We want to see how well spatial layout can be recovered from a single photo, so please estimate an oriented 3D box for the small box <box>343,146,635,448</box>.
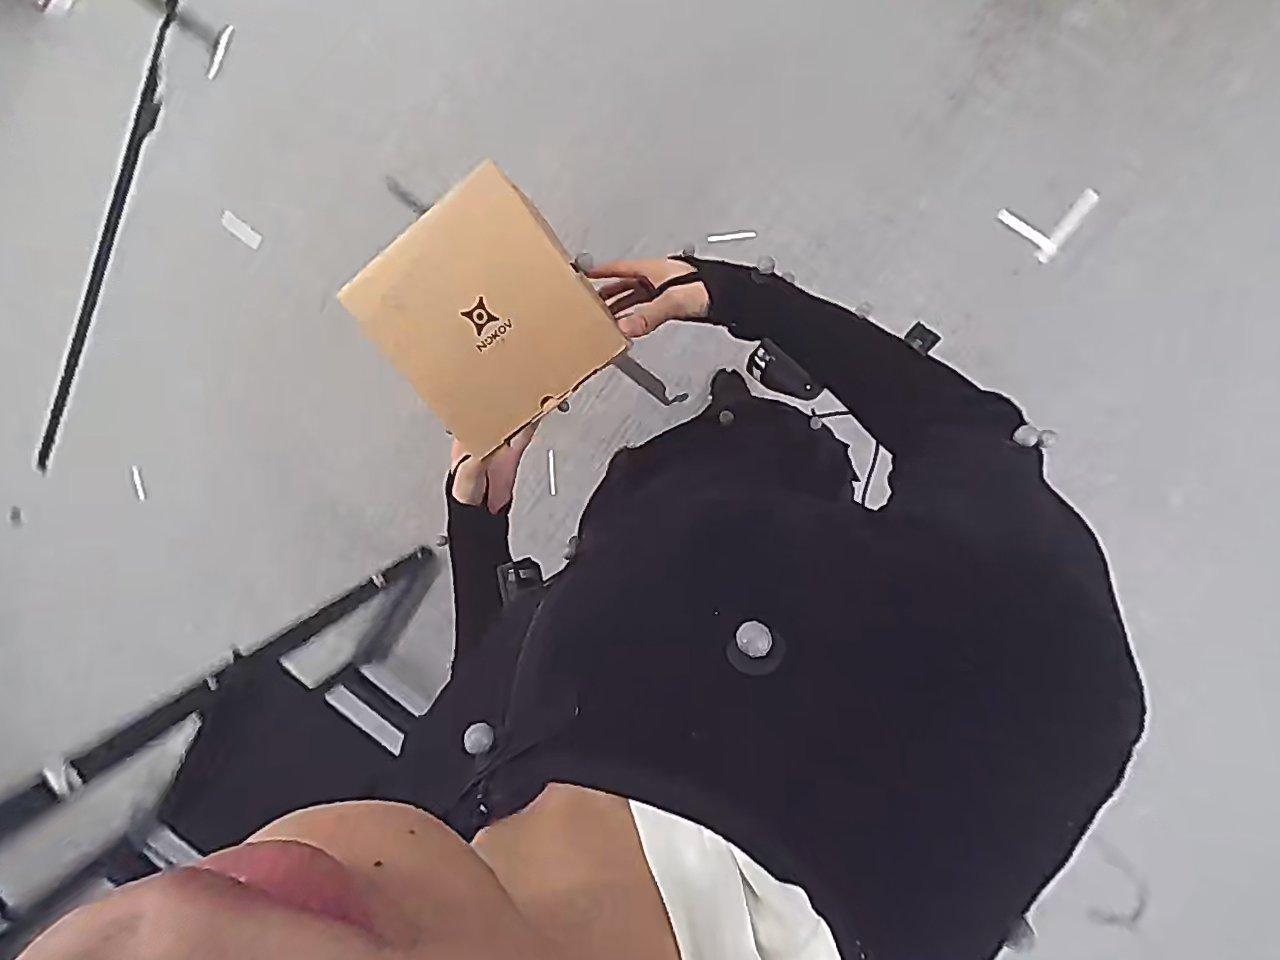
[{"bbox_3d":[-0.120,-0.158,0.505,0.168,0.176,0.179,-35,104,10],"label":"small box"}]
